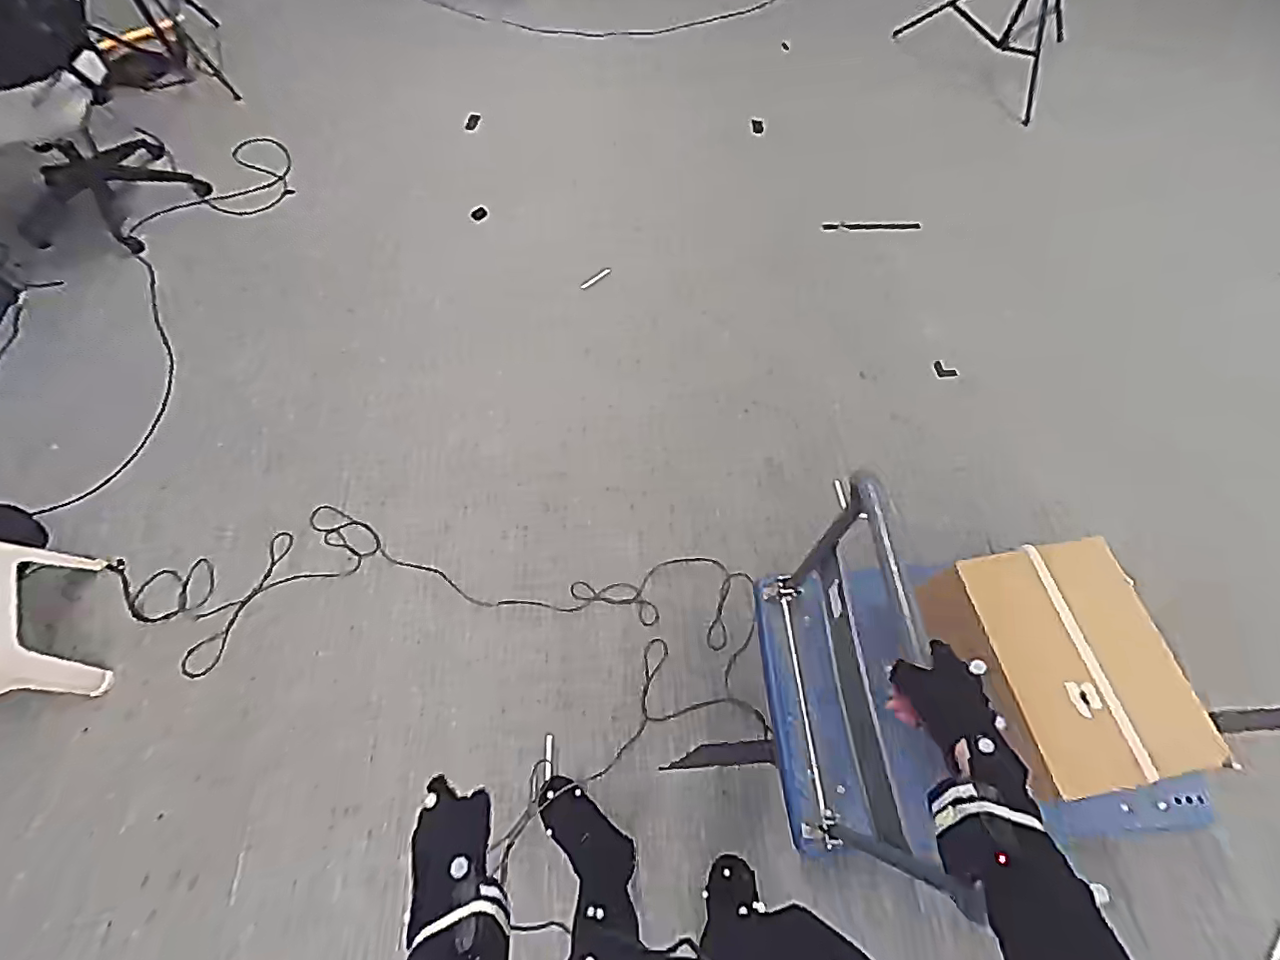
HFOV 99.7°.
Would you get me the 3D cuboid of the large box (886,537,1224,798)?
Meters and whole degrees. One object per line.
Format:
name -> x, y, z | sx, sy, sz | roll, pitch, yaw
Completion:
large box -> 0.774, 0.374, 1.094 | 0.320, 0.320, 0.408 | -9, 64, -5
